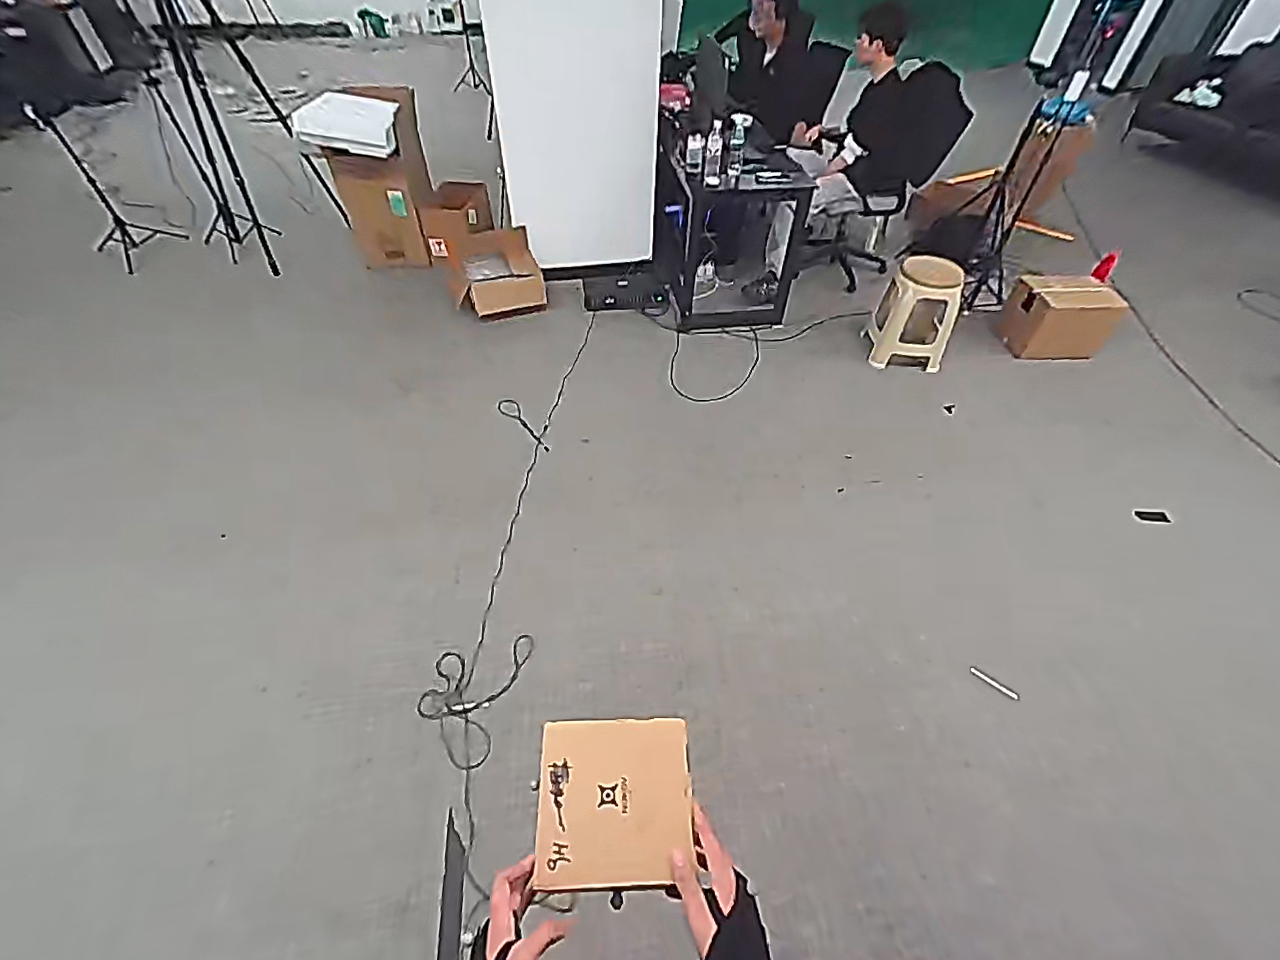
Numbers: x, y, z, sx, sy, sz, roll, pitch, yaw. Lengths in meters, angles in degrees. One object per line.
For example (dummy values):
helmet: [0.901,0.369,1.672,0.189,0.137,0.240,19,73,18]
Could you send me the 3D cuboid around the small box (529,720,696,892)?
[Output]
small box: [-0.033,0.404,0.668,0.179,0.176,0.168,0,52,-3]
